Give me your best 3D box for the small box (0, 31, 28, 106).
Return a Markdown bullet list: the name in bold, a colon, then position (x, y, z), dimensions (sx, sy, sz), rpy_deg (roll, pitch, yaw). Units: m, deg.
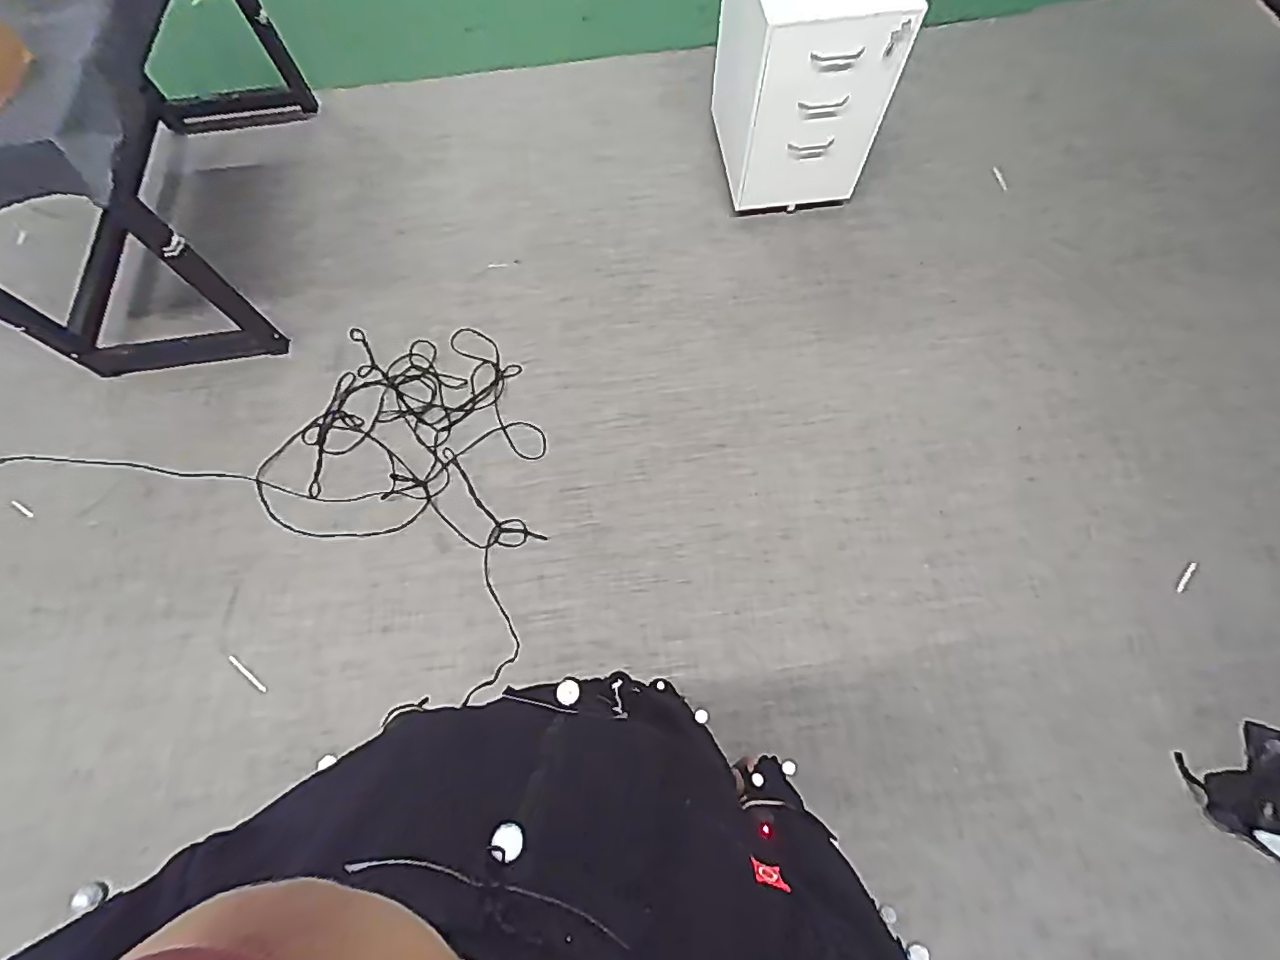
- **small box**: position (-1.318, -0.806, 0.997), dimensions (0.168, 0.176, 0.179), rpy_deg (-1, 68, 0)
